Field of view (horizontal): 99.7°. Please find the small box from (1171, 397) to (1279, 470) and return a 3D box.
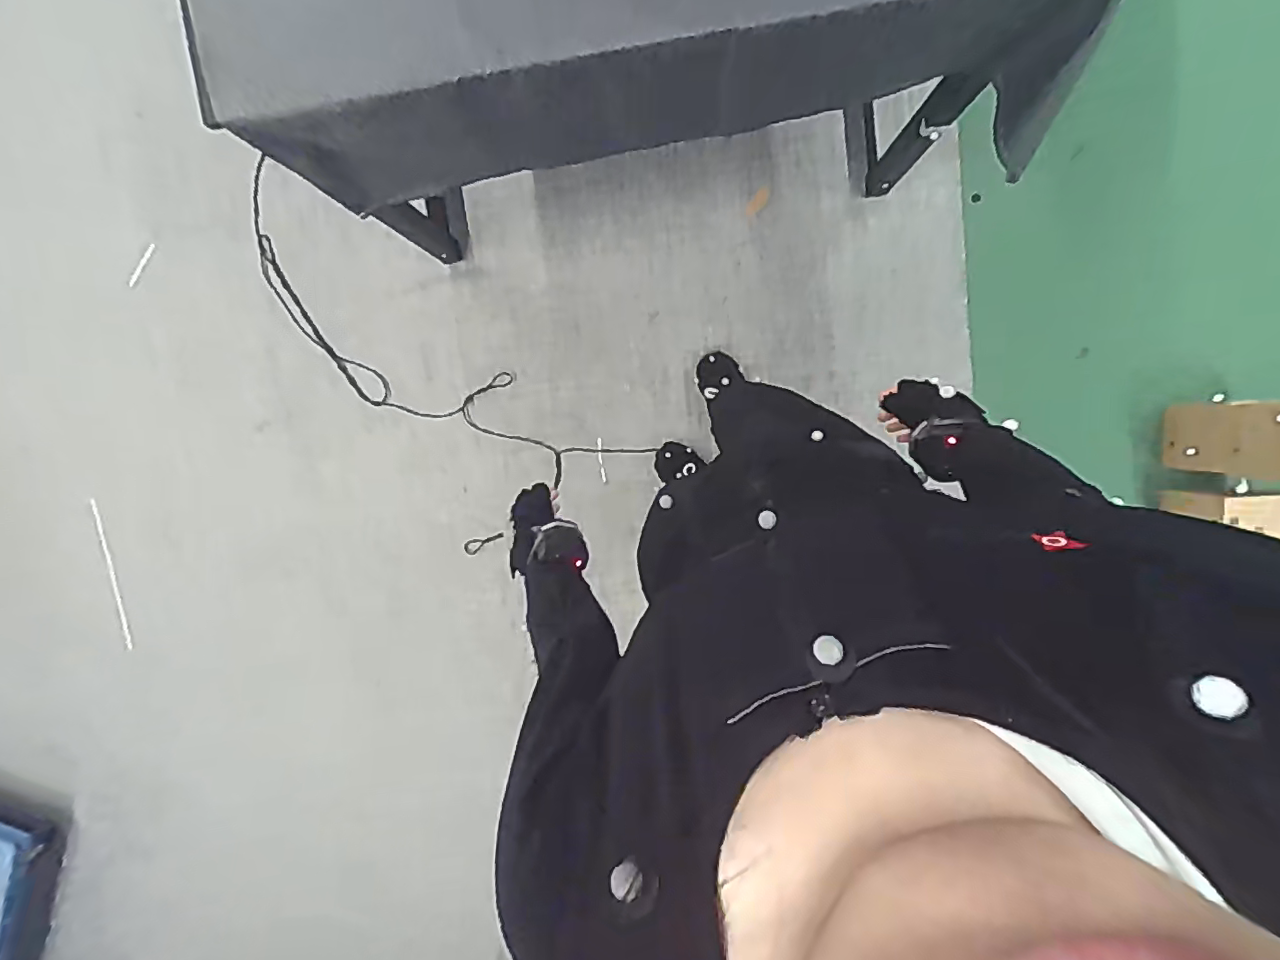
[{"bbox_3d":[1.435,-0.112,1.294,0.179,0.176,0.168,-2,96,4],"label":"small box"}]
